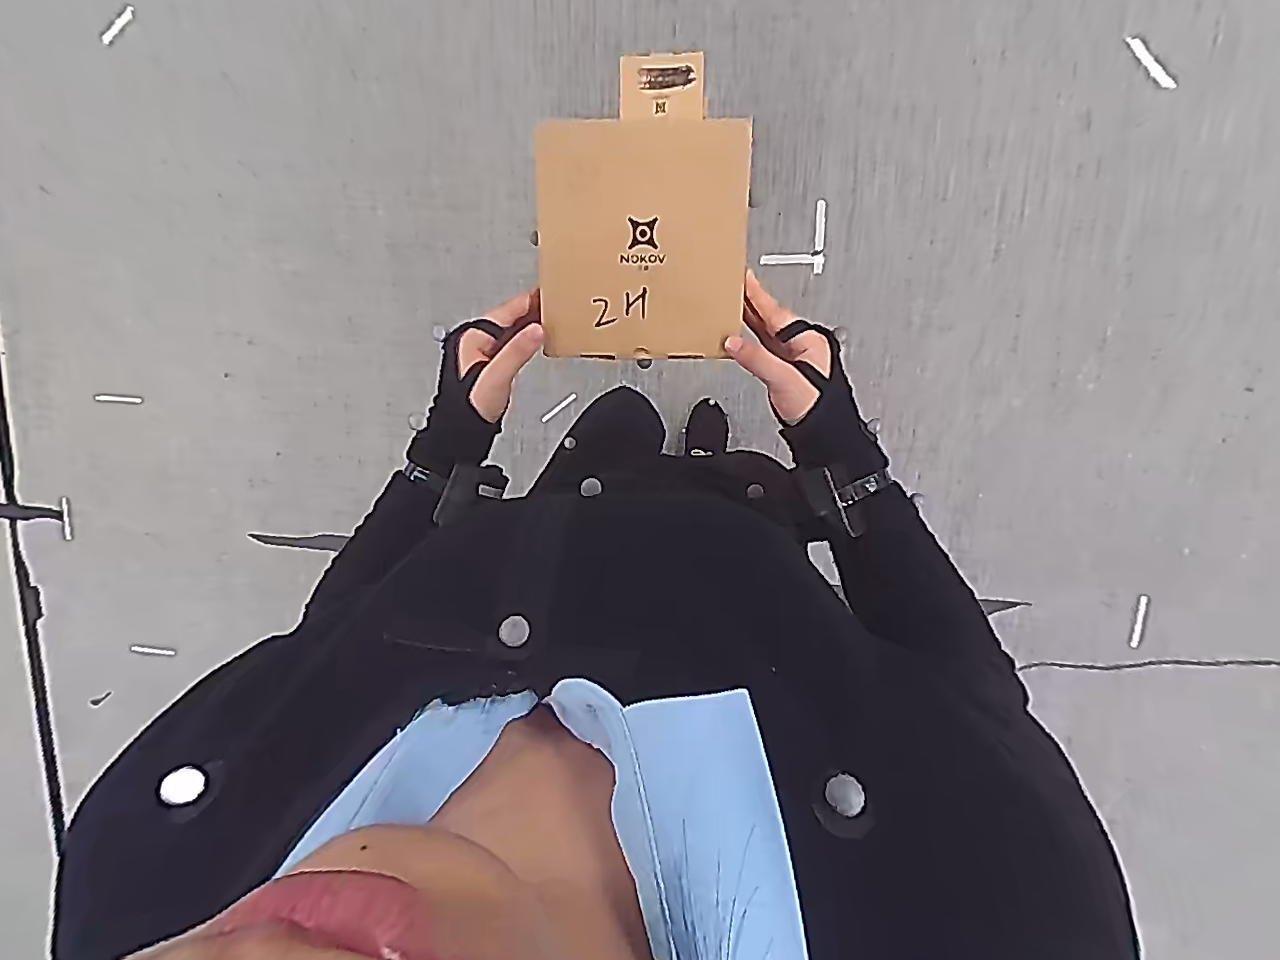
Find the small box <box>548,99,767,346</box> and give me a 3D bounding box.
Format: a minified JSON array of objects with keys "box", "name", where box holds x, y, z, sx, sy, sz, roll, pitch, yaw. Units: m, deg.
[{"box":[0.013,-0.214,0.494,0.168,0.176,0.179,1,105,2],"name":"small box"}]
